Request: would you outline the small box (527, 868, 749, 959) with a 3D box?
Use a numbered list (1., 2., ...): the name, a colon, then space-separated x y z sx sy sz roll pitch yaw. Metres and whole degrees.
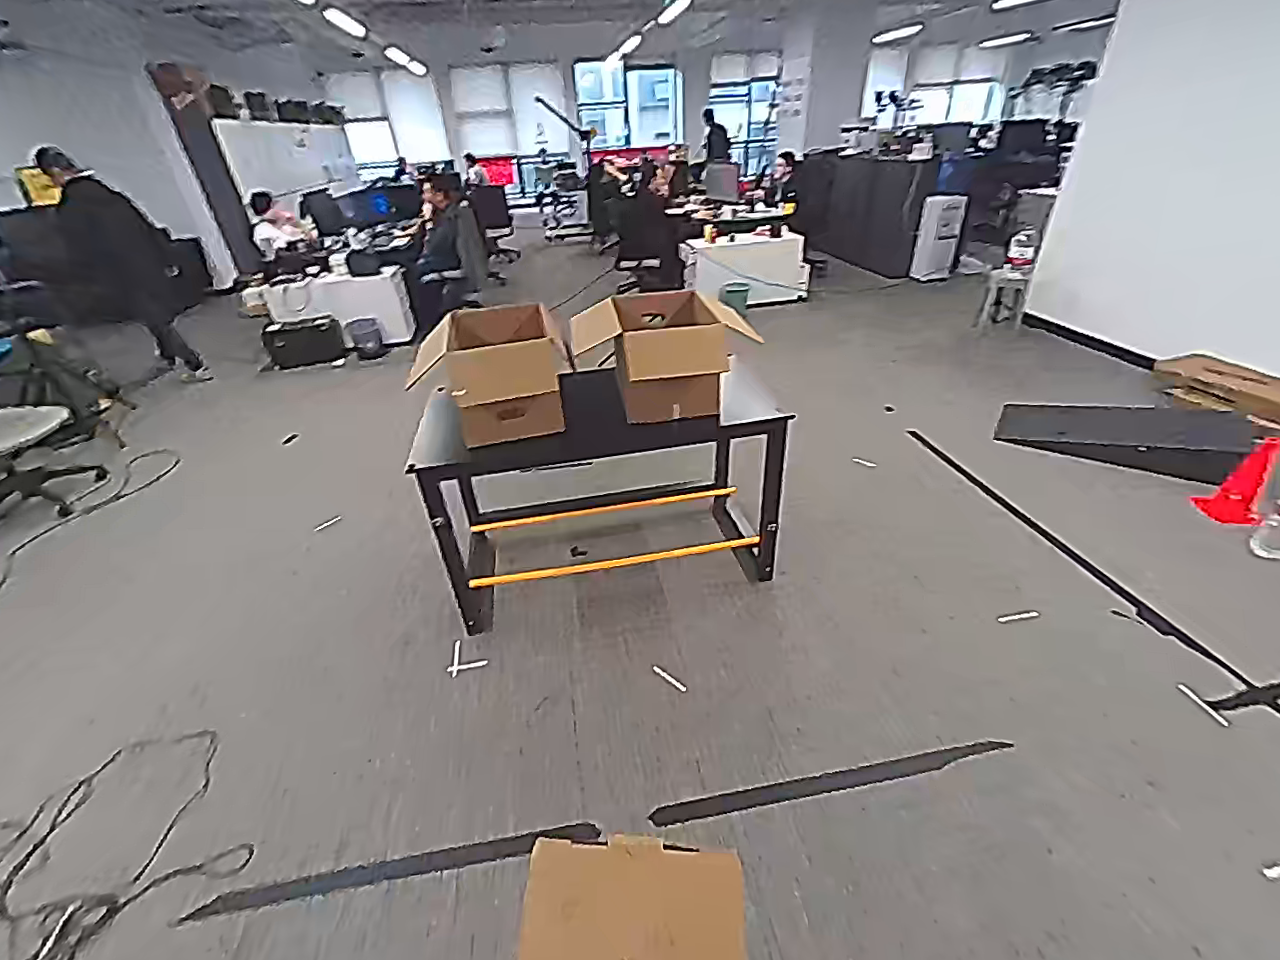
1. small box: -0.001 0.432 0.430 0.168 0.176 0.179 0 48 5
